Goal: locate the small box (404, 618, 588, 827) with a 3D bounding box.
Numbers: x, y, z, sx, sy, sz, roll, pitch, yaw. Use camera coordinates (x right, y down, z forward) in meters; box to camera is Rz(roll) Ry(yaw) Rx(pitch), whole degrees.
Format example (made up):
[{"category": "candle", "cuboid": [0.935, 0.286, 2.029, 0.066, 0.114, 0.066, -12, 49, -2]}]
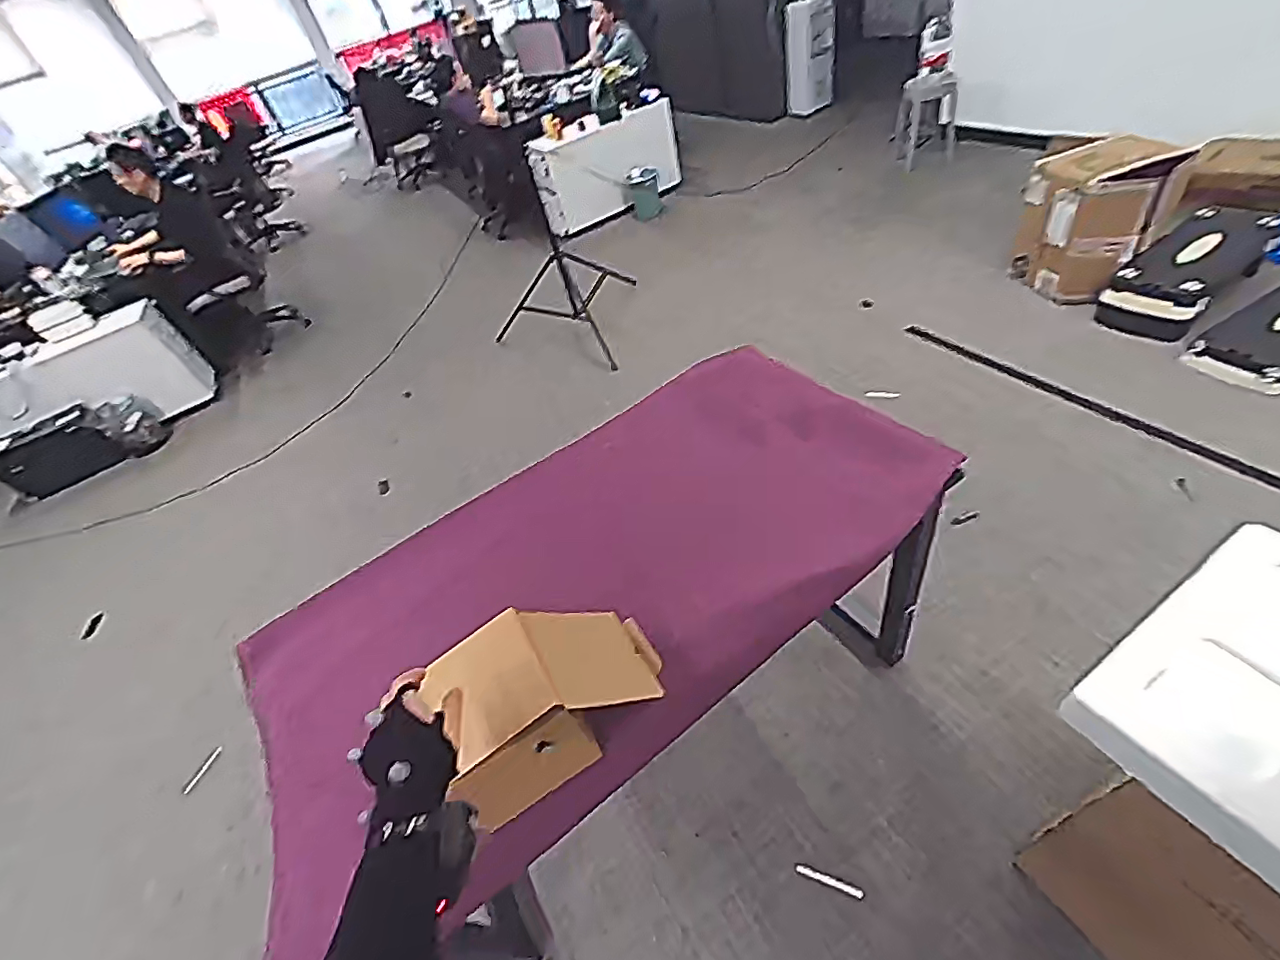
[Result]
[{"category": "small box", "cuboid": [-0.185, 0.330, 0.738, 0.179, 0.176, 0.168, -30, 45, -12]}]
